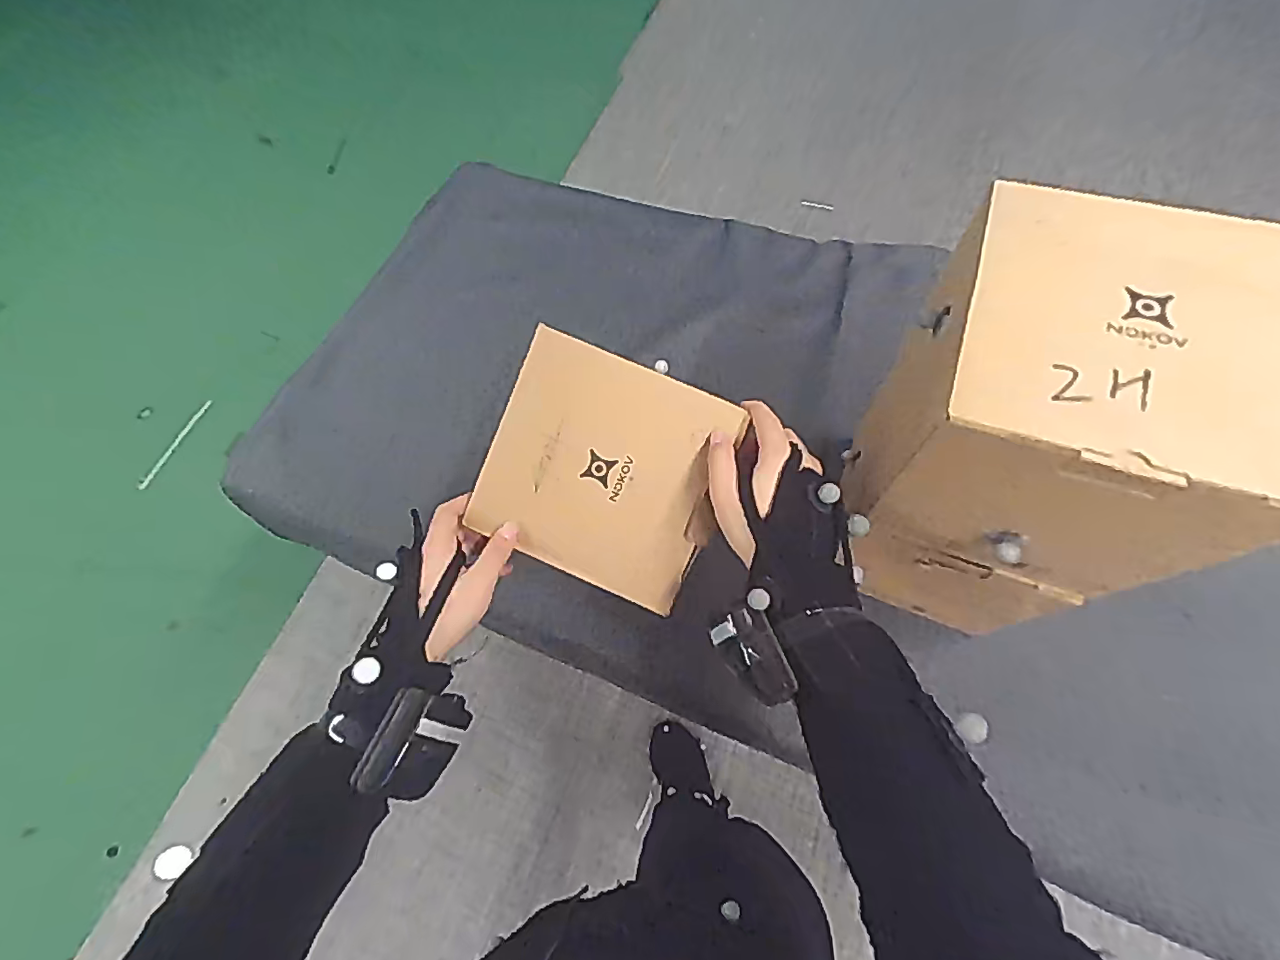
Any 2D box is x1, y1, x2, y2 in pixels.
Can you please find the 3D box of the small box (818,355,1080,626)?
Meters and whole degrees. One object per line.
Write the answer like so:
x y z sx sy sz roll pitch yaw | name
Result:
0.277 0.017 0.500 0.168 0.176 0.179 20 70 14 | small box

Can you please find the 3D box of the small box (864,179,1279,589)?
0.263 -0.050 0.350 0.168 0.176 0.179 17 70 14 | small box
